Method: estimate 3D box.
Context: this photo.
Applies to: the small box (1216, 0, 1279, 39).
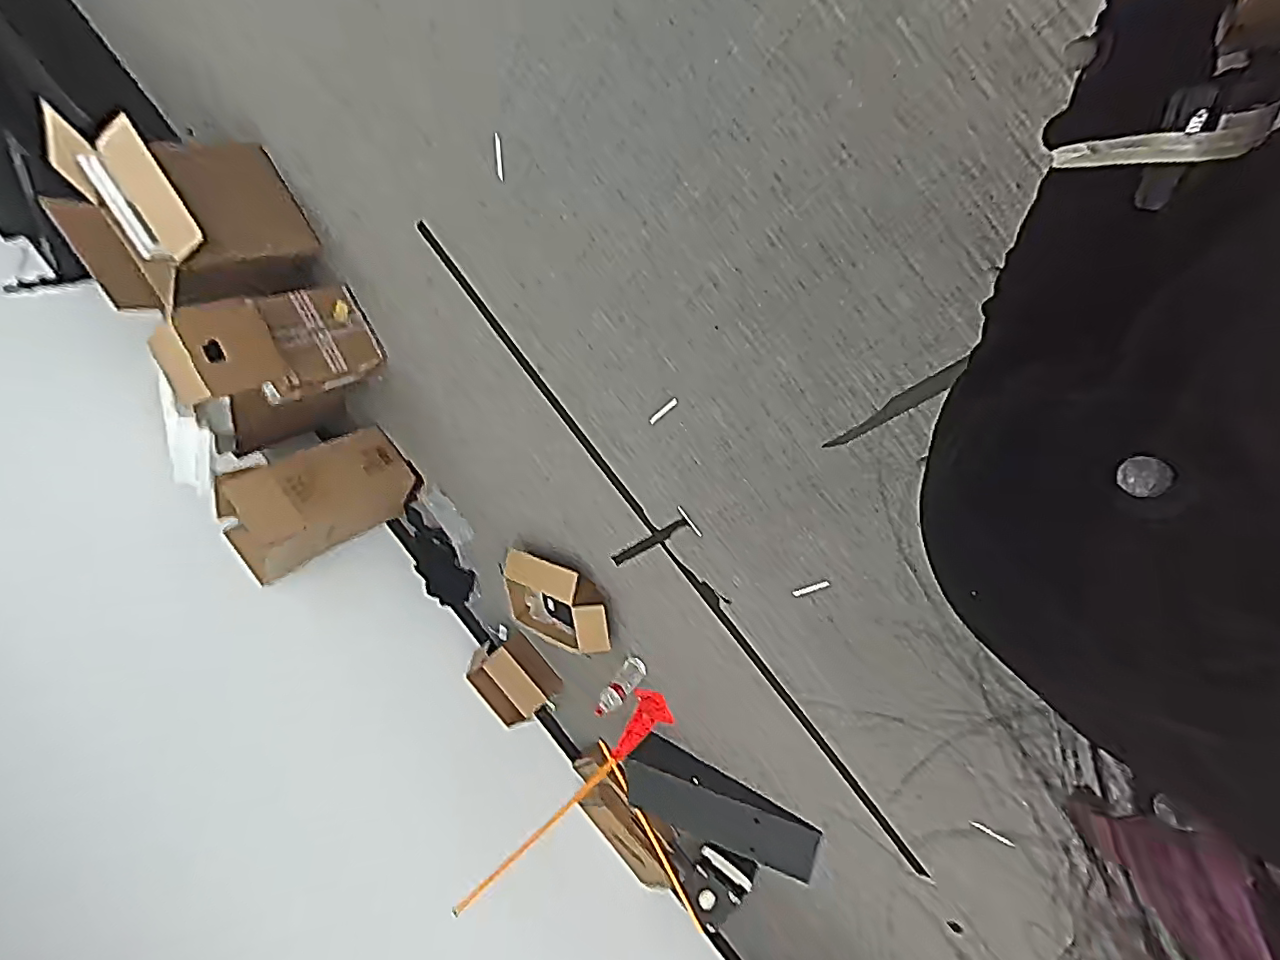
[{"bbox_3d":[0.335,-0.305,0.184,0.168,0.176,0.179,4,111,39],"label":"small box"}]
